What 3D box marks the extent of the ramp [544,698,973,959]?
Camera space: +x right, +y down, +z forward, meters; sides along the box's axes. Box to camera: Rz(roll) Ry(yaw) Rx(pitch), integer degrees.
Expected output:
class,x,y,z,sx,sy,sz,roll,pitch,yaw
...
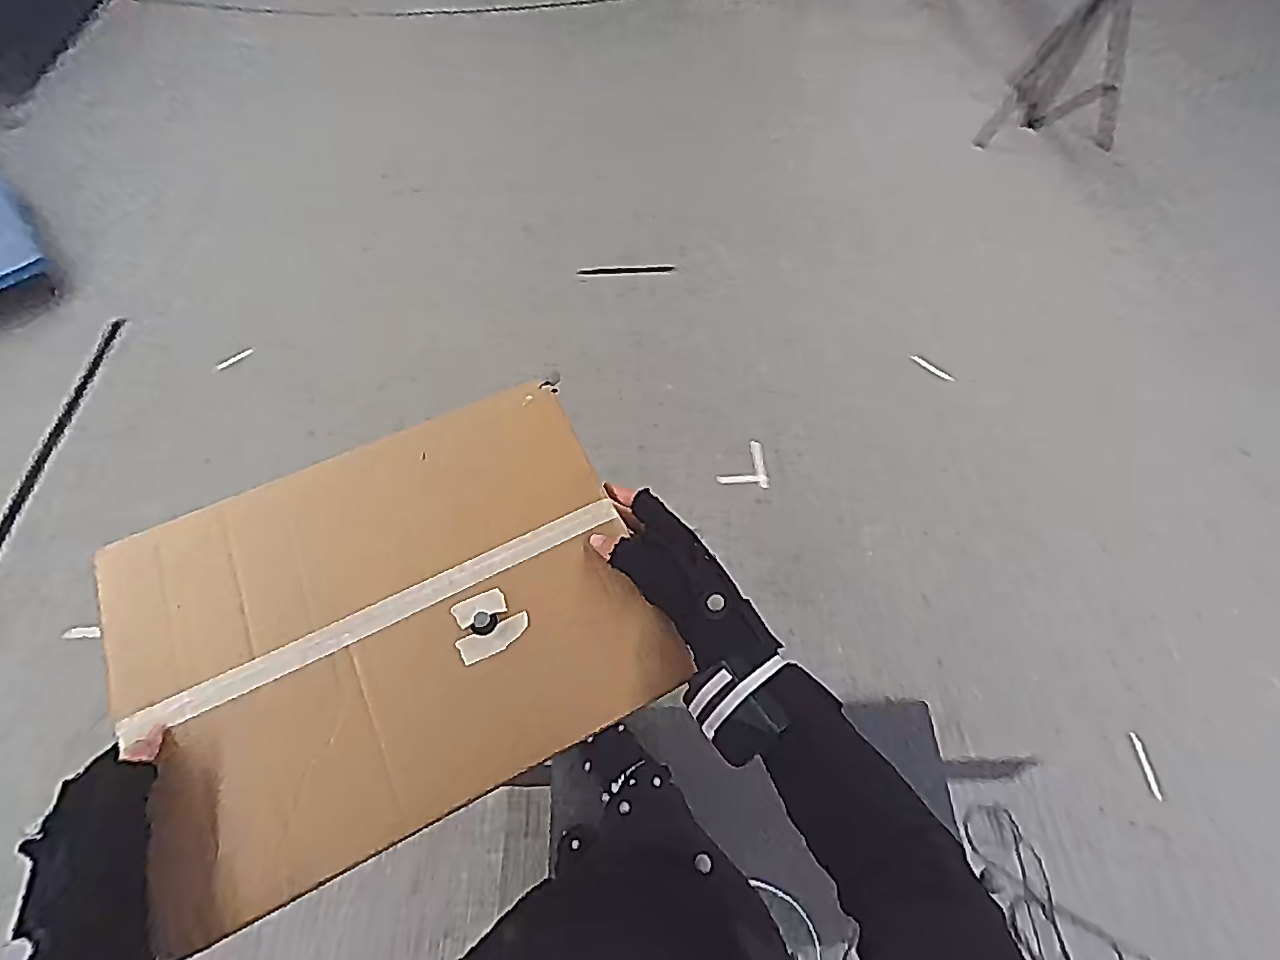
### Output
class,x,y,z,sx,sy,sz,roll,pitch,yaw
ramp,0.282,0.793,1.293,0.991,0.206,0.509,-3,62,-2

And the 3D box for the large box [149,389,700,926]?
class,x,y,z,sx,sy,sz,roll,pitch,yaw
large box,-0.197,0.167,0.599,0.408,0.320,0.320,-23,70,-12
